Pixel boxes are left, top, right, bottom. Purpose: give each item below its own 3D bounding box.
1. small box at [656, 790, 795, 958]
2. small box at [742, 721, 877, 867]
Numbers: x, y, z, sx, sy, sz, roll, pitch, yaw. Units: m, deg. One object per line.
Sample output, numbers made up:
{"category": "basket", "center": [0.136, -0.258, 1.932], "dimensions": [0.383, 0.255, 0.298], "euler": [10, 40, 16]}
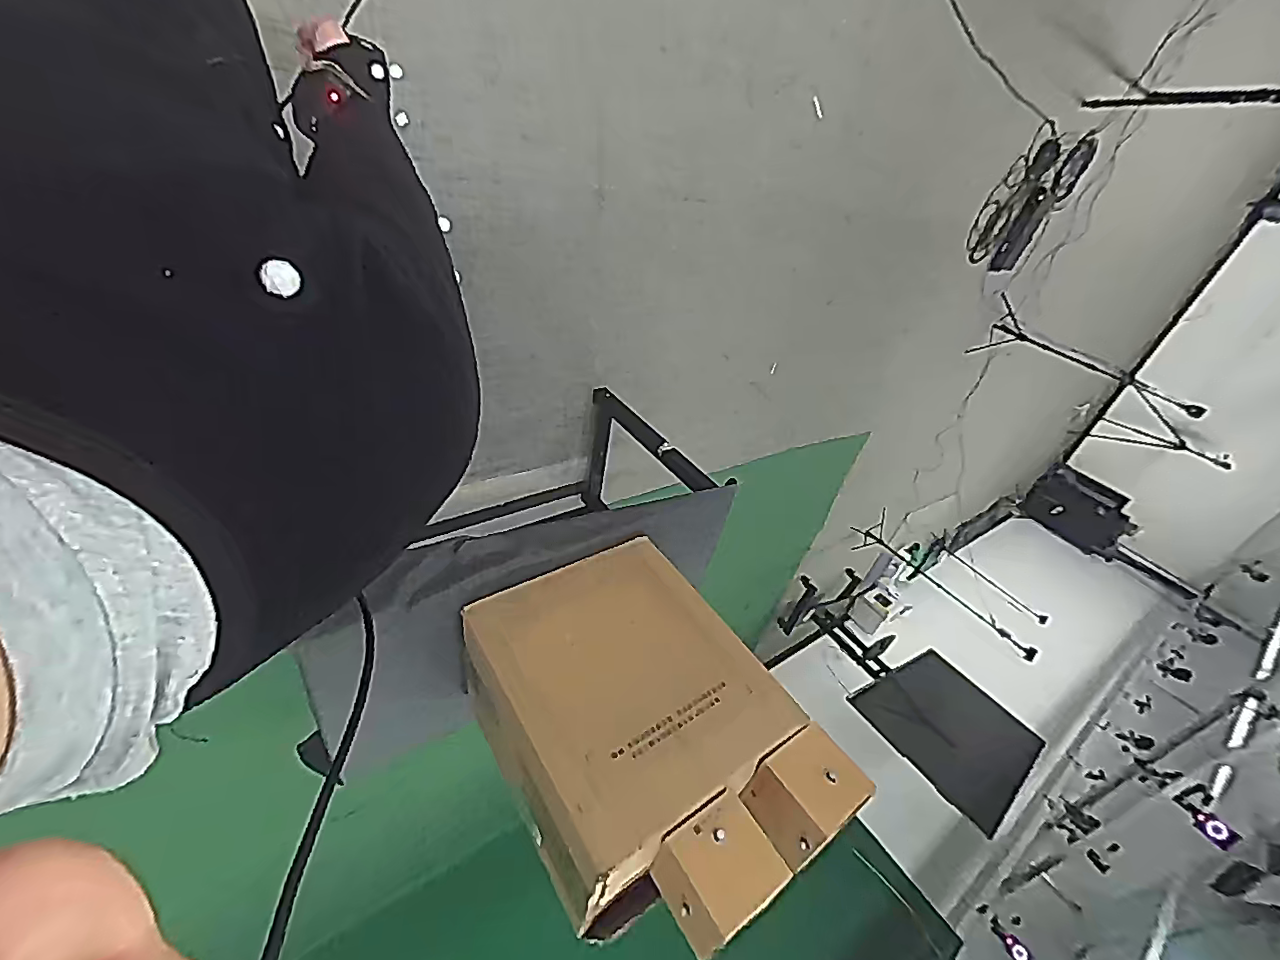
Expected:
{"category": "small box", "center": [0.148, 0.717, 0.999], "dimensions": [0.168, 0.176, 0.179], "euler": [-18, 135, -32]}
{"category": "small box", "center": [0.347, 0.643, 1.129], "dimensions": [0.179, 0.176, 0.168], "euler": [-16, 134, -36]}
